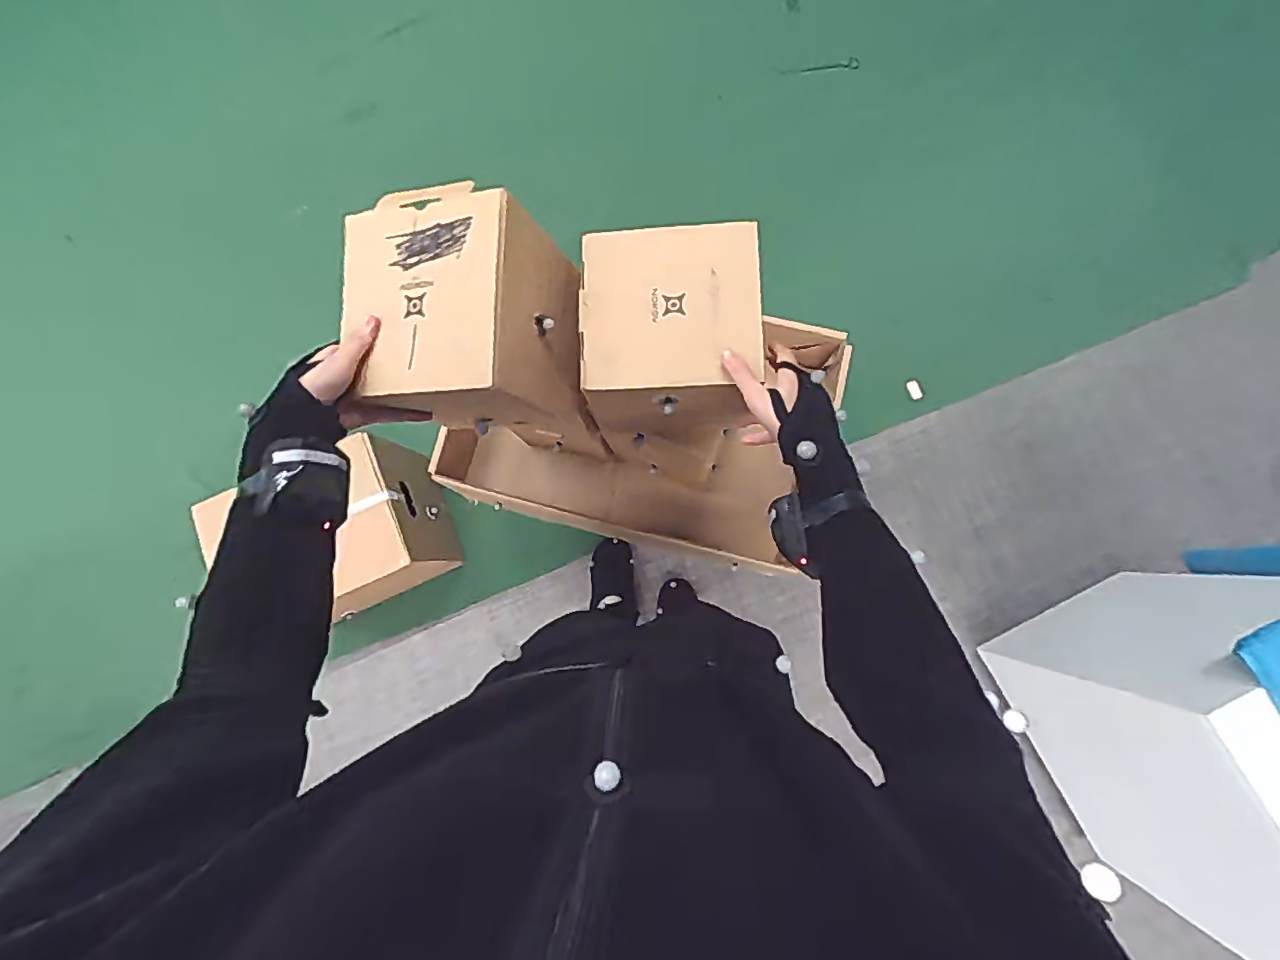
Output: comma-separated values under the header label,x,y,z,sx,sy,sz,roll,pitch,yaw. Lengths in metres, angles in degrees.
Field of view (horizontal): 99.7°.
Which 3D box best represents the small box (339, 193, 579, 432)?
label,x,y,z,sx,sy,sz,roll,pitch,yaw
small box,-0.170,-0.151,0.552,0.168,0.176,0.179,-1,86,19
